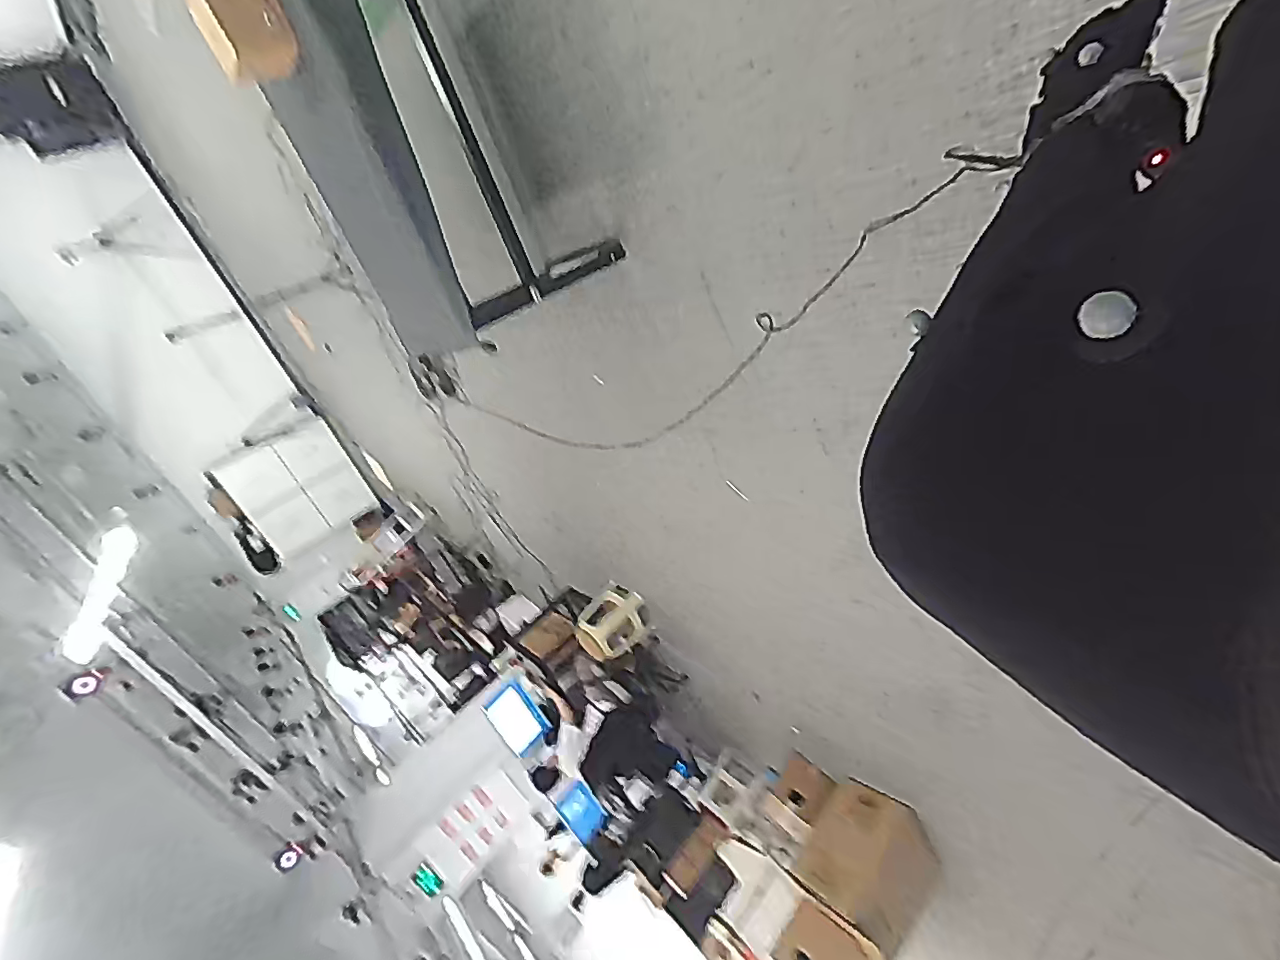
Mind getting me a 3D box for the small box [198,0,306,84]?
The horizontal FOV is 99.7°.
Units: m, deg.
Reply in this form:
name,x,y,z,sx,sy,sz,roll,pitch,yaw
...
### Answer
name,x,y,z,sx,sy,sz,roll,pitch,yaw
small box,-1.016,-1.185,1.423,0.179,0.176,0.168,11,133,49
